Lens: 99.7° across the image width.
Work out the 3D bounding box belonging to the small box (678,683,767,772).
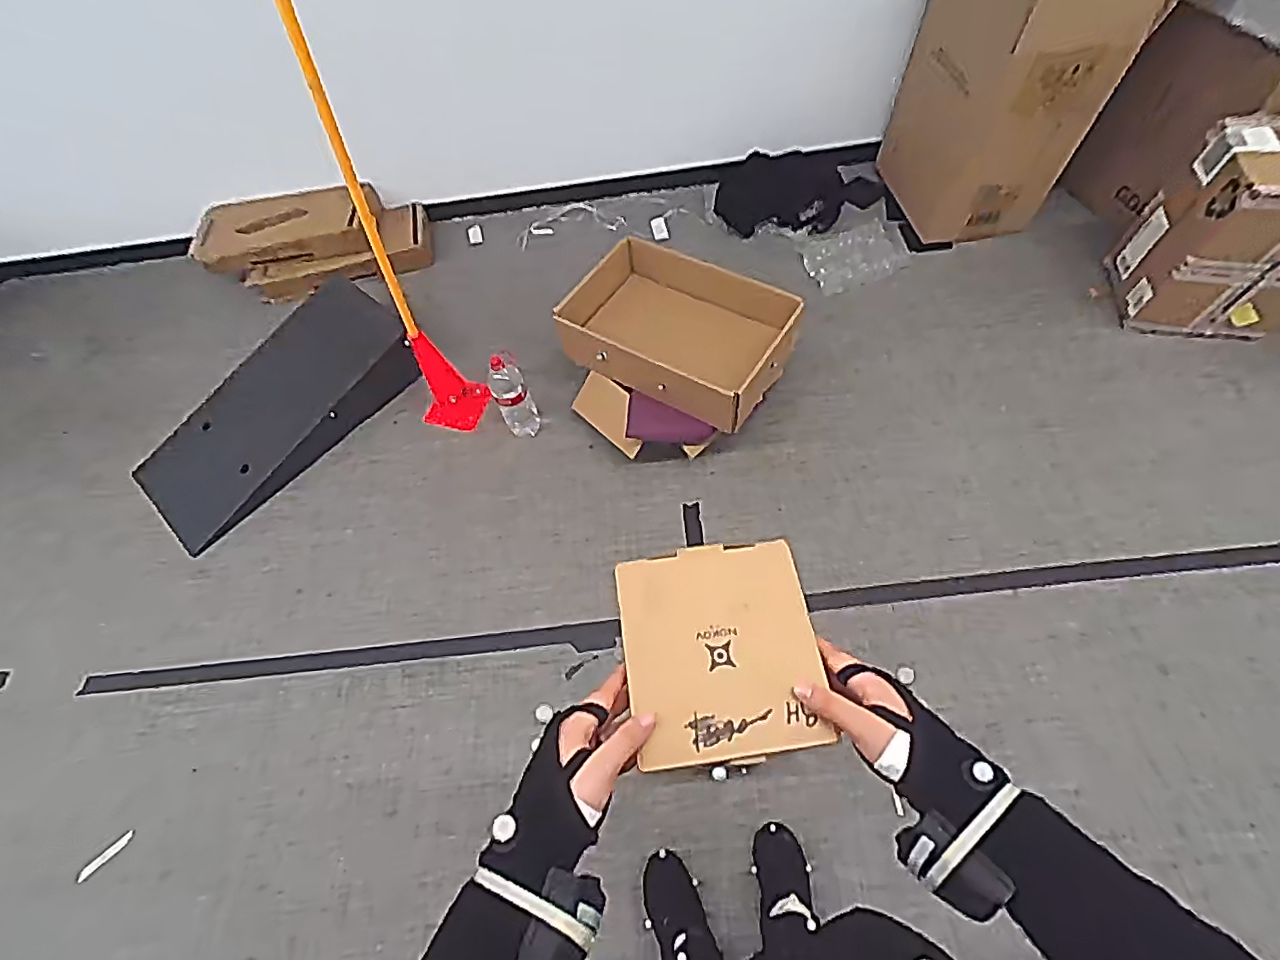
[{"bbox_3d":[0.185,0.574,1.249,0.179,0.176,0.168,-7,59,3],"label":"small box"}]
